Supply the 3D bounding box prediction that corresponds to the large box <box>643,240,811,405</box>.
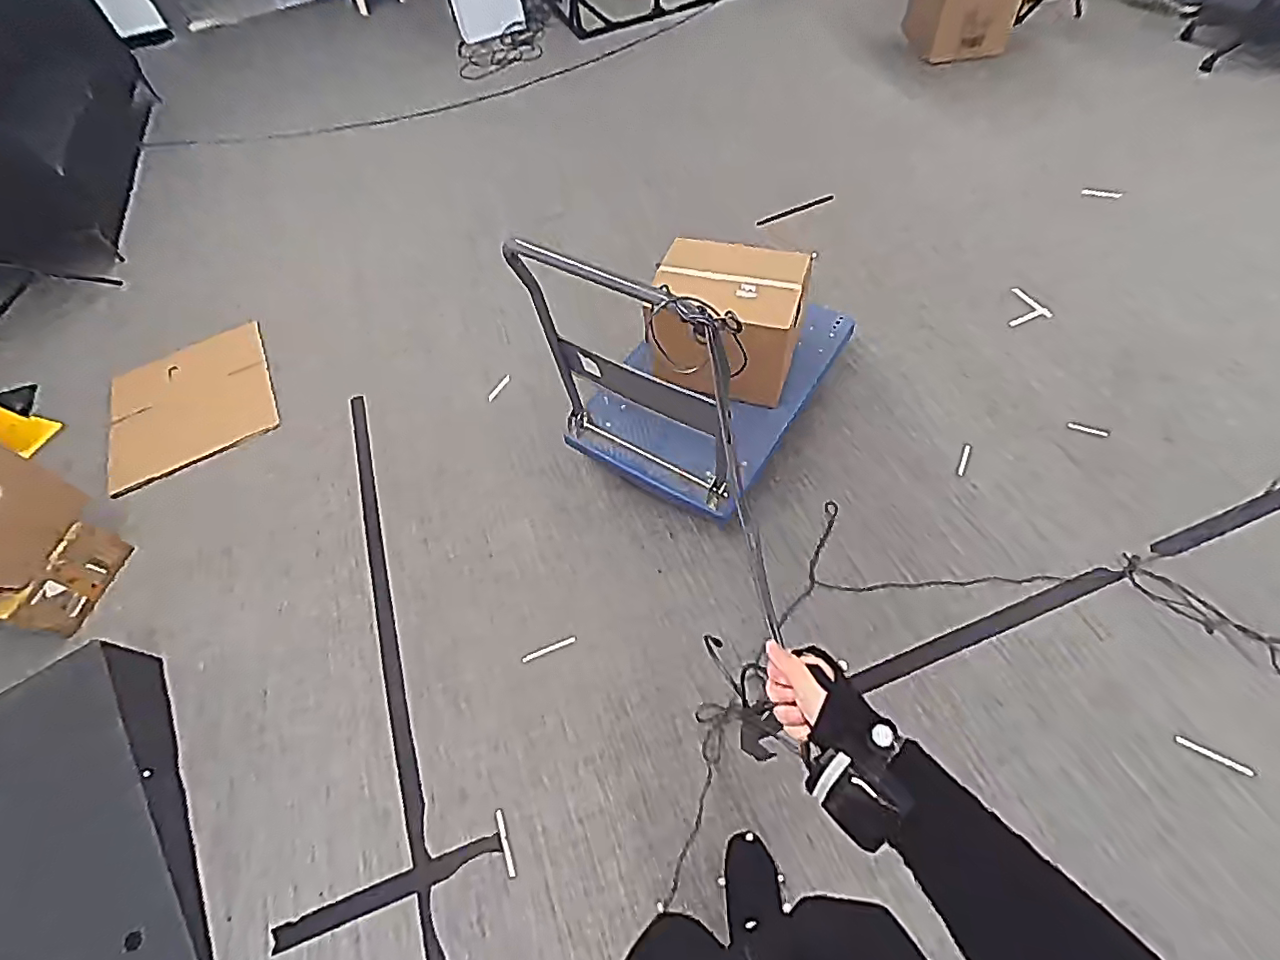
[{"bbox_3d":[0.252,-0.463,1.601,0.408,0.320,0.320,14,61,15],"label":"large box"}]
